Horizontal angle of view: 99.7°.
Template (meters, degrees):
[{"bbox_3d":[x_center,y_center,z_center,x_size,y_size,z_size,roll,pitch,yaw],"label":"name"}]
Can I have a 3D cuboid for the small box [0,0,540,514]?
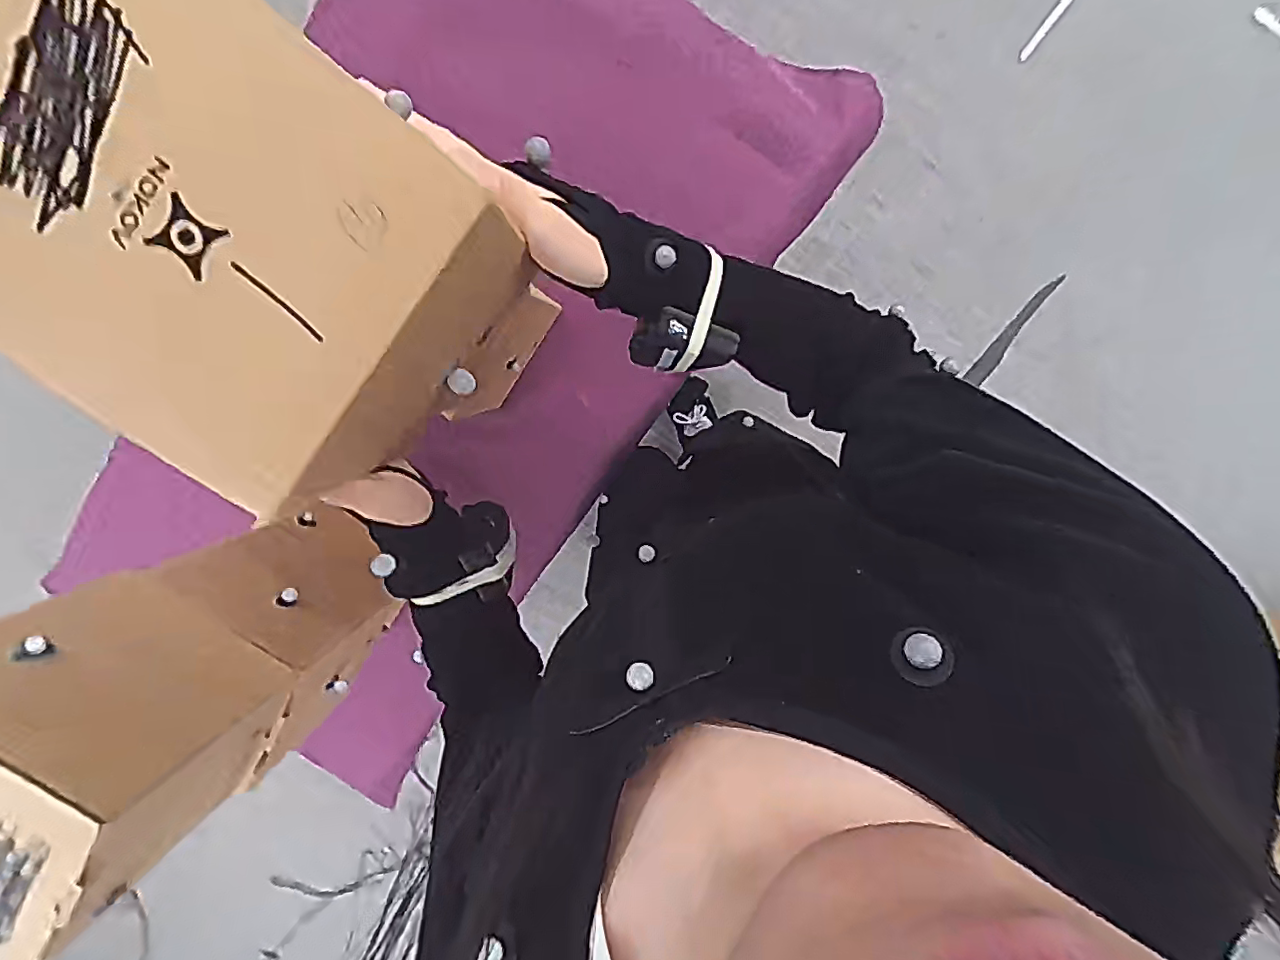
[{"bbox_3d":[-0.172,-0.114,0.279,0.179,0.176,0.168,38,99,-13],"label":"small box"}]

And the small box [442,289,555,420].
[{"bbox_3d":[-0.226,-0.197,0.656,0.179,0.176,0.168,35,102,-4],"label":"small box"}]

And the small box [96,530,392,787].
[{"bbox_3d":[-0.409,0.177,0.589,0.179,0.176,0.168,30,103,-3],"label":"small box"}]

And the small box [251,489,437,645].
[{"bbox_3d":[-0.417,0.132,0.747,0.179,0.176,0.168,35,103,-3],"label":"small box"}]
